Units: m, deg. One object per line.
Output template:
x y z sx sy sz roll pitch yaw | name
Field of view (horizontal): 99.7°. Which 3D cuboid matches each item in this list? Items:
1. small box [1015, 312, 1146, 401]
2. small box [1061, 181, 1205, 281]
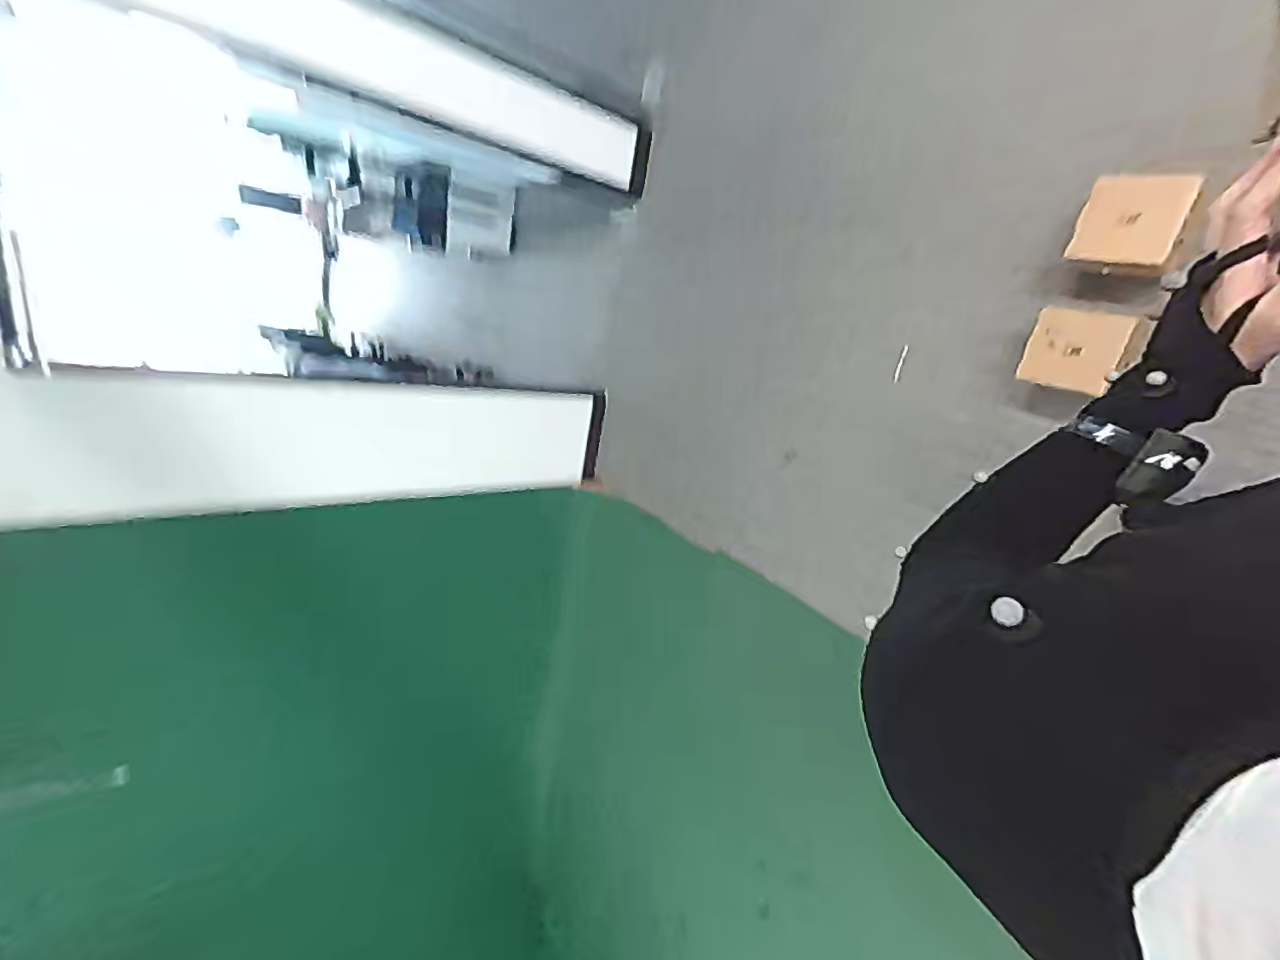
1.016 -0.282 1.245 0.179 0.176 0.168 30 115 45 | small box
1.067 -0.533 1.169 0.179 0.176 0.168 30 115 45 | small box
